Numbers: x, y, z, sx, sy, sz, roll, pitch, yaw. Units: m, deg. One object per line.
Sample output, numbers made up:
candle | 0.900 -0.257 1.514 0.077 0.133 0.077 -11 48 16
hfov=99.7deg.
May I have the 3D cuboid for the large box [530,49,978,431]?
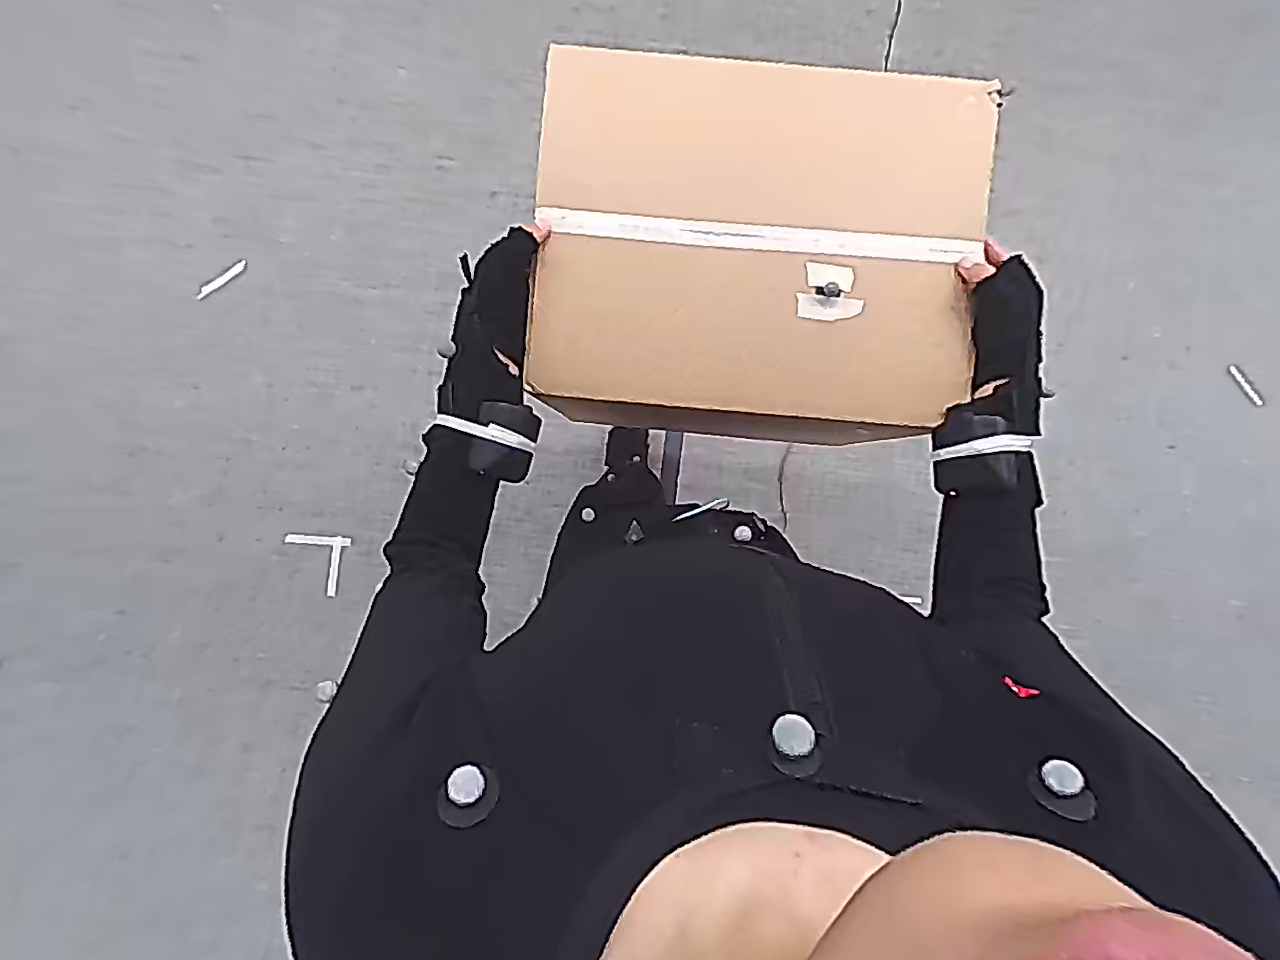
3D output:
large box | 0.102 -0.235 0.651 0.408 0.320 0.320 5 93 -1
